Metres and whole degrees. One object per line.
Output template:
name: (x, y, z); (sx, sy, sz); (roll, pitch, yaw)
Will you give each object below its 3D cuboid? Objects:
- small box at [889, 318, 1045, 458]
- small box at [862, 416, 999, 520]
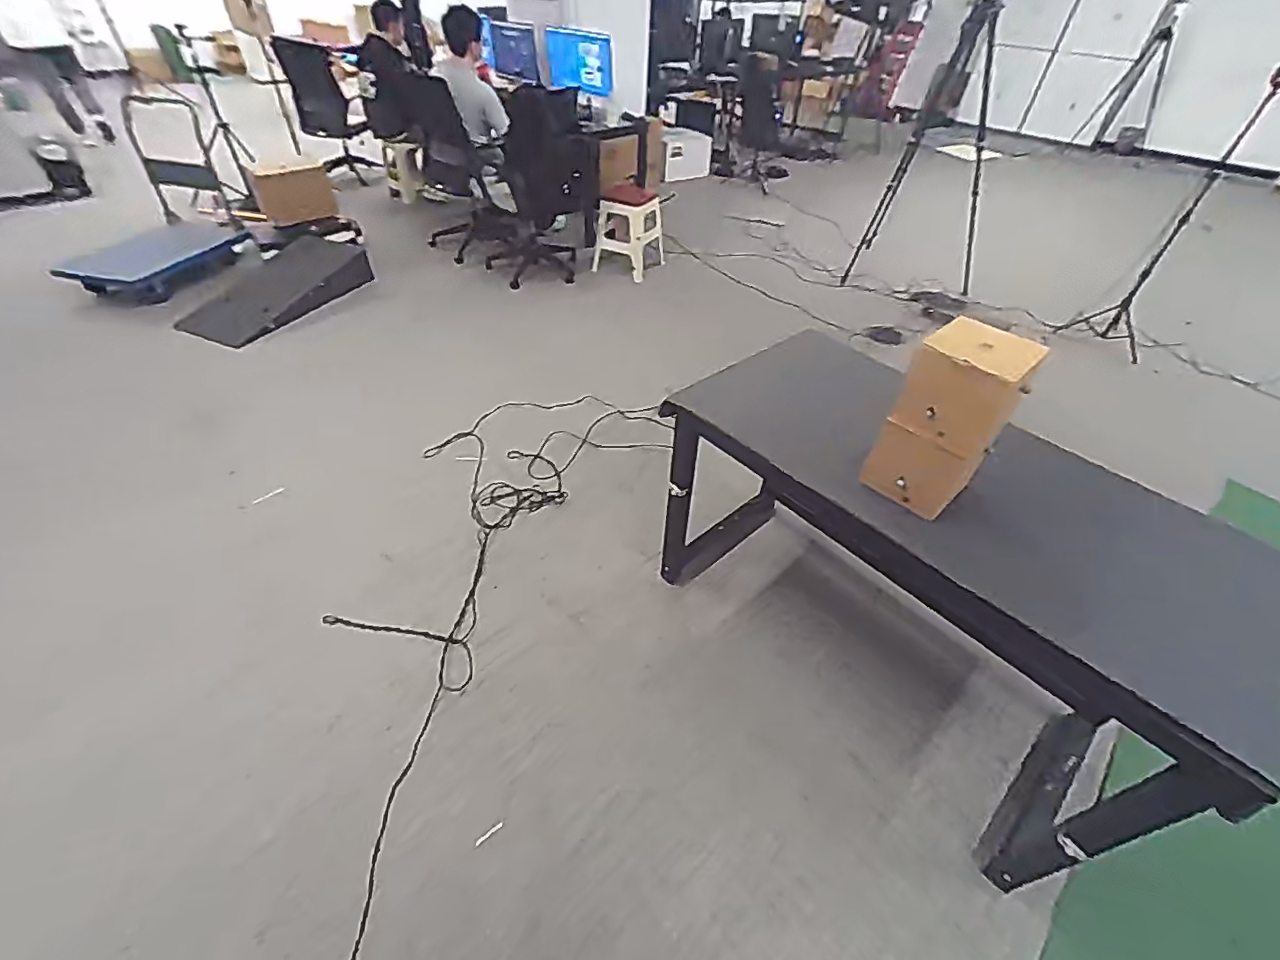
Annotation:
small box: (0.595, -0.171, 1.003); (0.179, 0.176, 0.168); (-31, 53, -32)
small box: (0.588, -0.052, 1.112); (0.179, 0.176, 0.168); (-31, 52, -32)
